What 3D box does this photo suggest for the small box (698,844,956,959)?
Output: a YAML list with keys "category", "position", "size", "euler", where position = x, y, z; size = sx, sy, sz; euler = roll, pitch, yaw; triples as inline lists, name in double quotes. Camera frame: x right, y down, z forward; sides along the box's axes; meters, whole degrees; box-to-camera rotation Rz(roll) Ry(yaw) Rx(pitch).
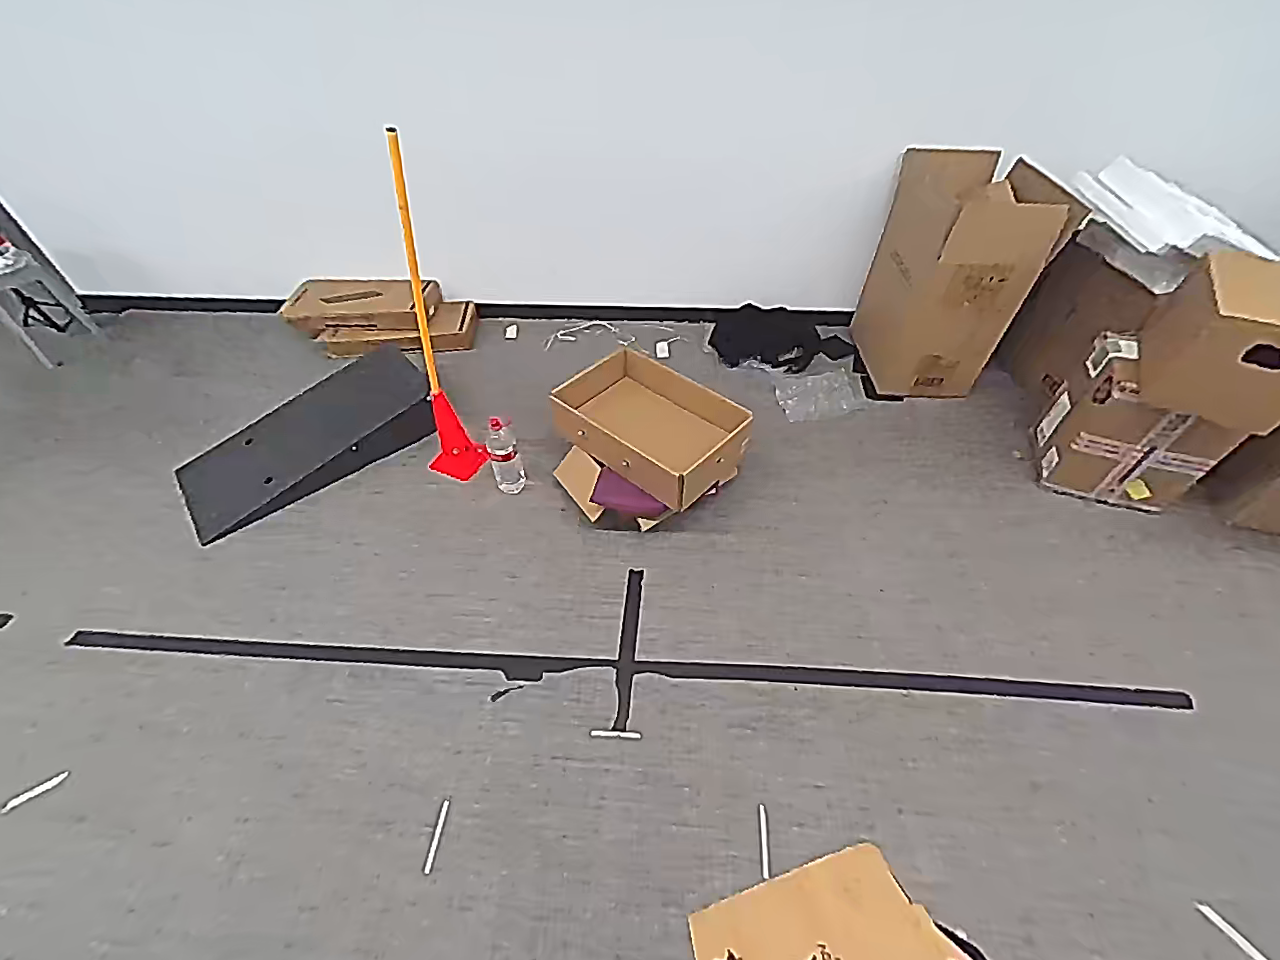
- category: "small box"
  position: [0.163, 0.436, 0.408]
  size: [0.179, 0.176, 0.168]
  euler: [-20, 7, -2]
